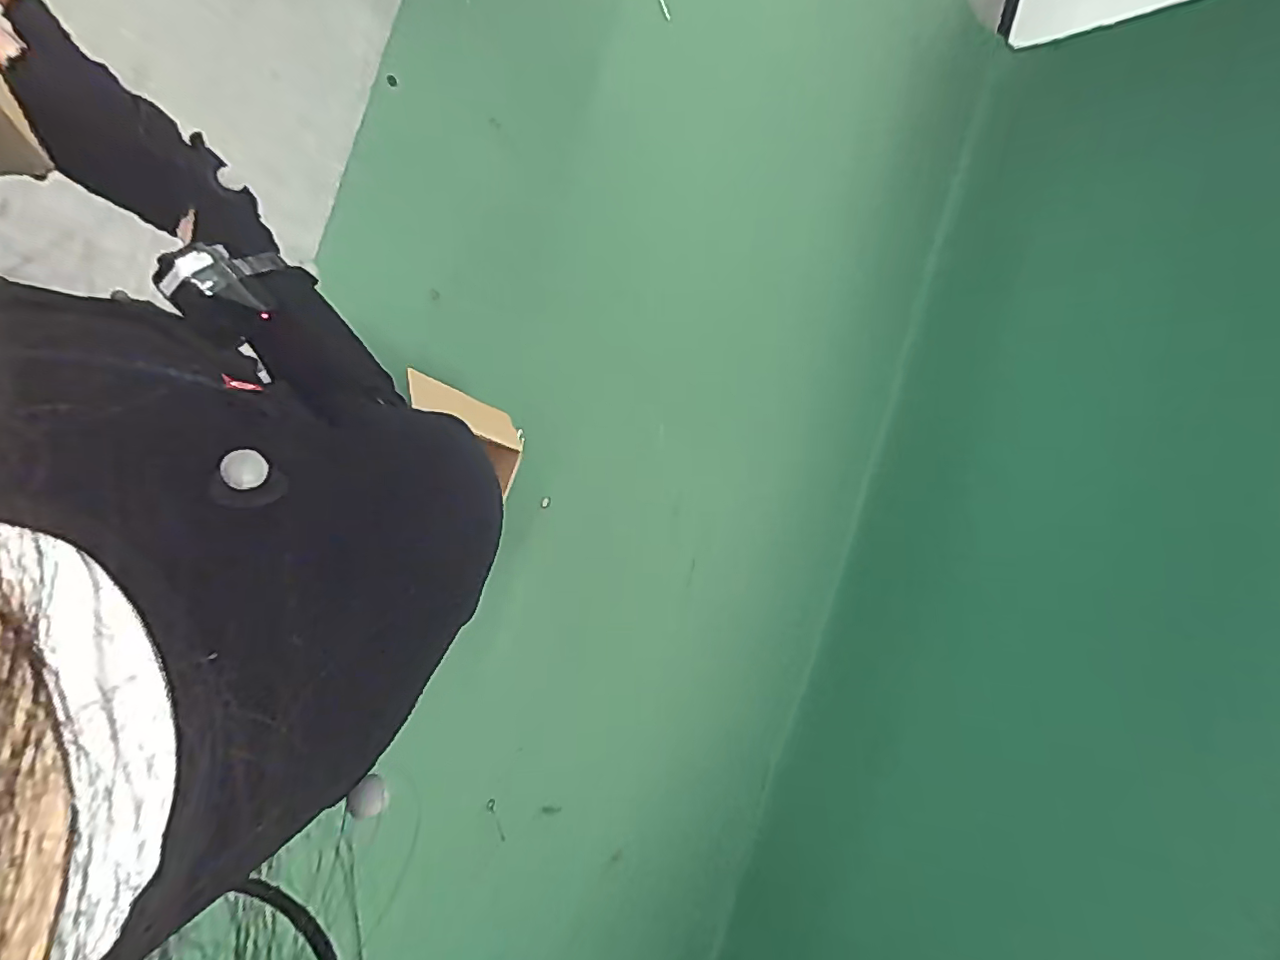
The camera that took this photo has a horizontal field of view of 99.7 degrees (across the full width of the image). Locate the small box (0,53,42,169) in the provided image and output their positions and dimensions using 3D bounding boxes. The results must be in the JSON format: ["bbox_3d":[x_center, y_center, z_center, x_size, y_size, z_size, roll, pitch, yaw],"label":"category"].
[{"bbox_3d":[-0.429,-0.252,0.235,0.168,0.176,0.179,-25,110,-32],"label":"small box"}]
